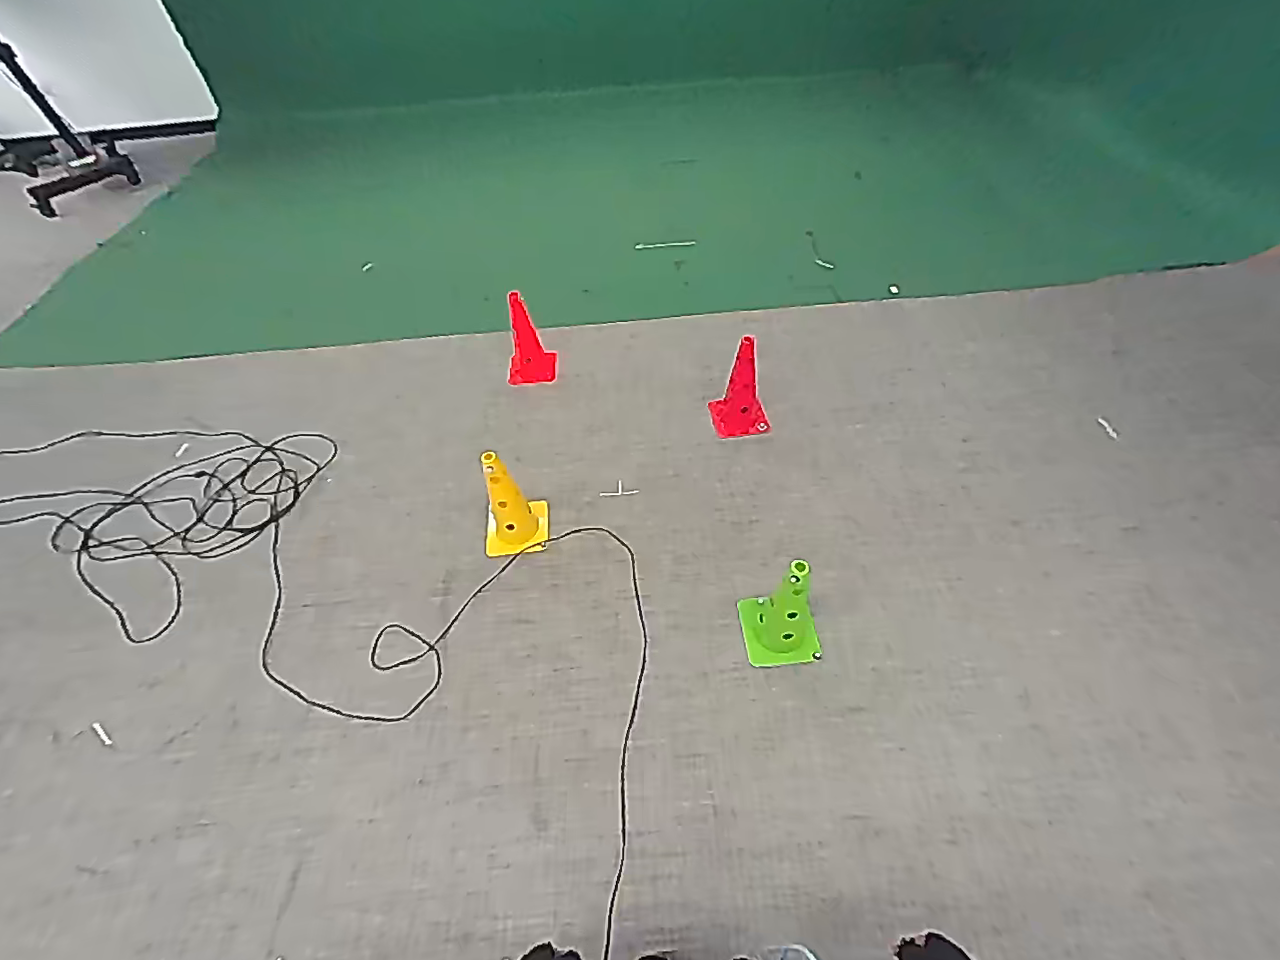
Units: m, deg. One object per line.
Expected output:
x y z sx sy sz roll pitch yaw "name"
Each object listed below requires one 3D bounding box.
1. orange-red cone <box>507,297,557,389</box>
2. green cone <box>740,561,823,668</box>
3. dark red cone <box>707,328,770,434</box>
-0.468 -0.568 2.175 0.198 0.360 0.199 -5 52 1 "orange-red cone"
0.379 0.312 1.387 0.202 0.368 0.200 -7 50 0 "green cone"
0.357 -0.357 1.906 0.202 0.394 0.201 -9 49 -3 "dark red cone"
